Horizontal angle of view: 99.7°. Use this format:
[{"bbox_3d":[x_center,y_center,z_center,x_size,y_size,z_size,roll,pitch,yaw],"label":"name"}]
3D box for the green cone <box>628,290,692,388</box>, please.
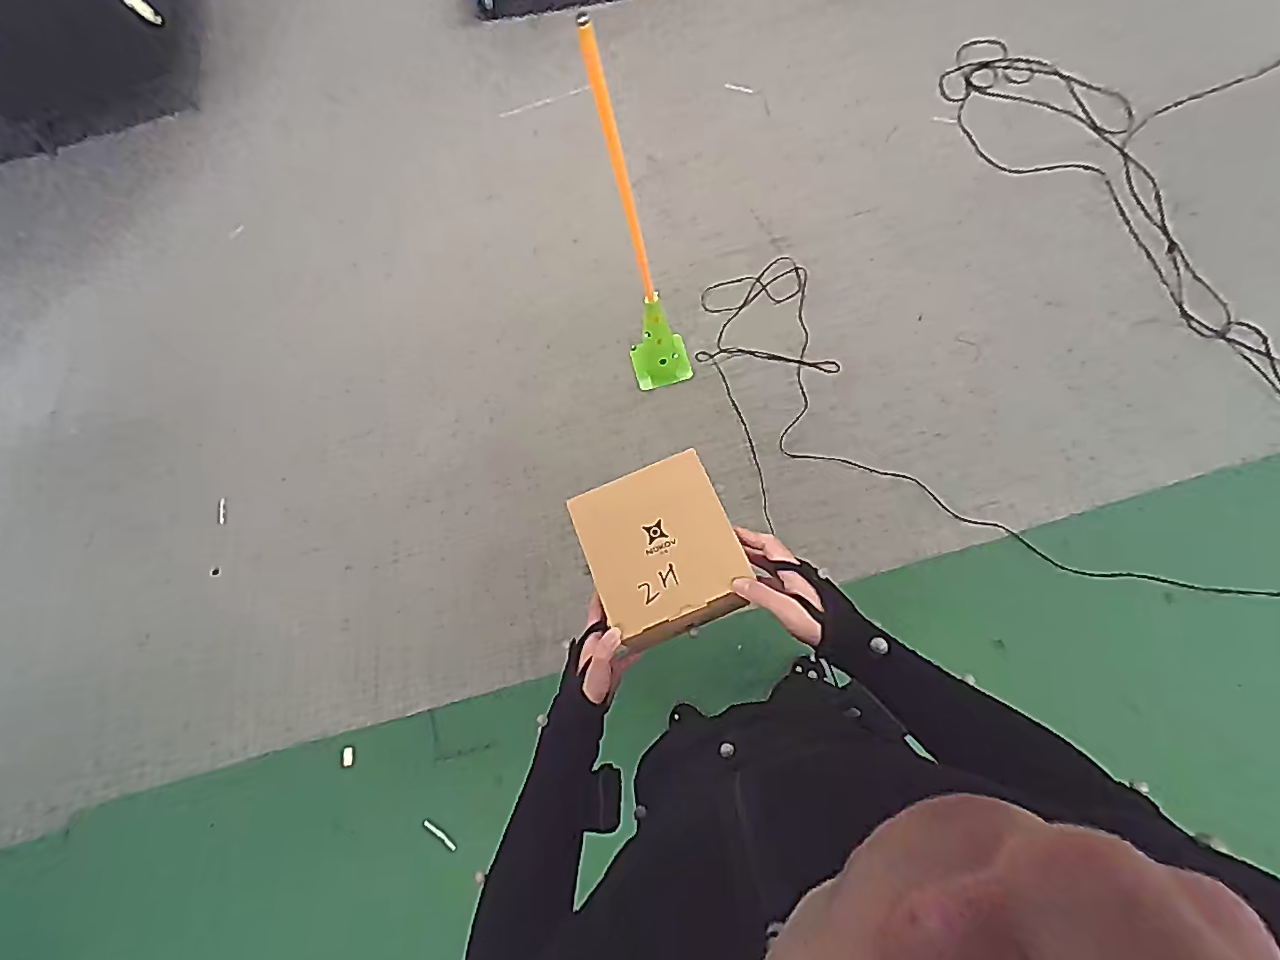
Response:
[{"bbox_3d":[0.053,-0.491,1.794,0.202,0.368,0.200,-16,69,0],"label":"green cone"}]
